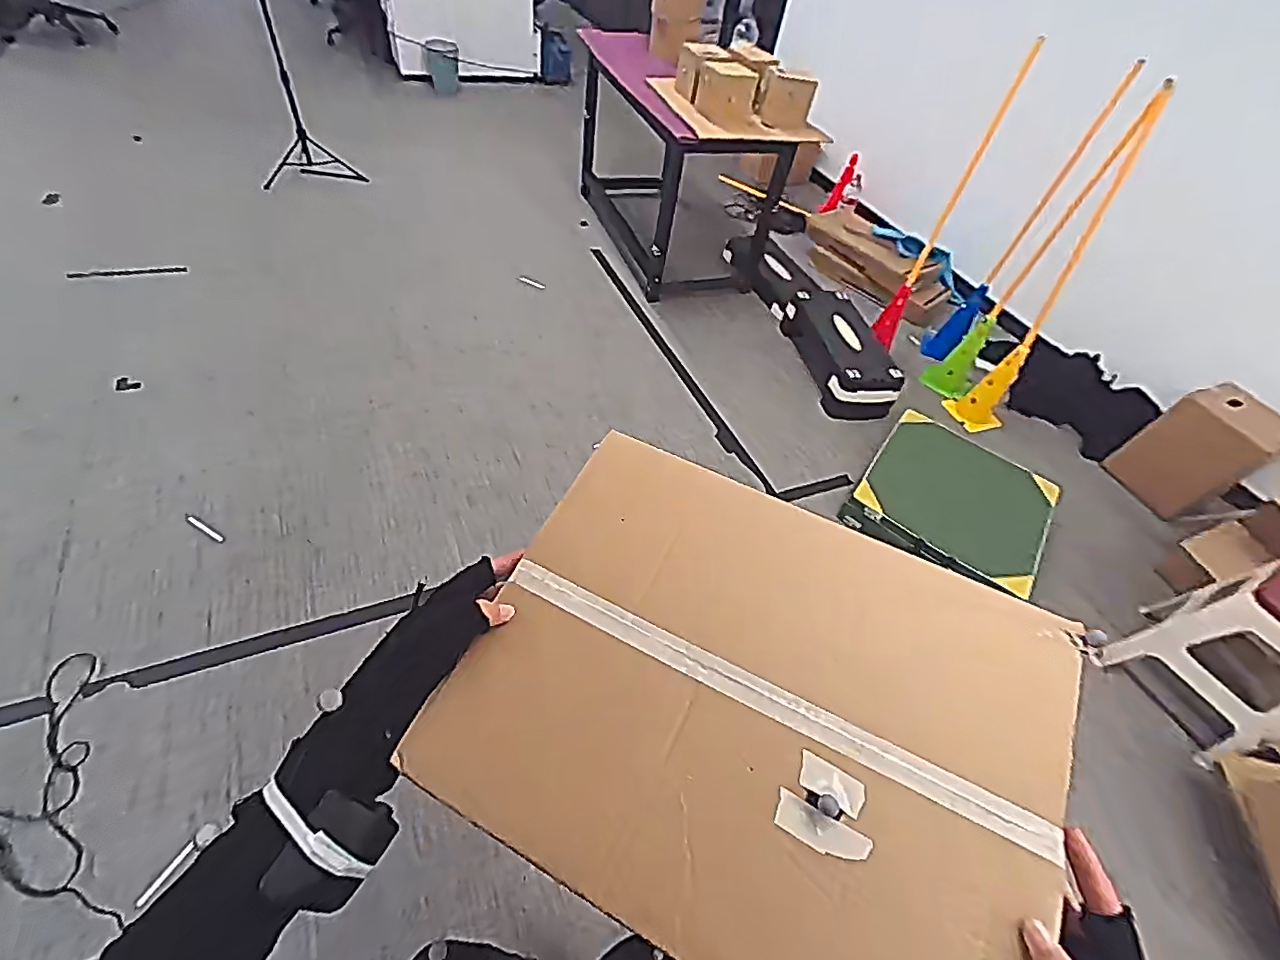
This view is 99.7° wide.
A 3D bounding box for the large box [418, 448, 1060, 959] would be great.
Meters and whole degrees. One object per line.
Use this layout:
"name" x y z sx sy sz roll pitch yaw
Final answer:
"large box" 0.085 0.233 0.529 0.408 0.320 0.320 24 63 14
